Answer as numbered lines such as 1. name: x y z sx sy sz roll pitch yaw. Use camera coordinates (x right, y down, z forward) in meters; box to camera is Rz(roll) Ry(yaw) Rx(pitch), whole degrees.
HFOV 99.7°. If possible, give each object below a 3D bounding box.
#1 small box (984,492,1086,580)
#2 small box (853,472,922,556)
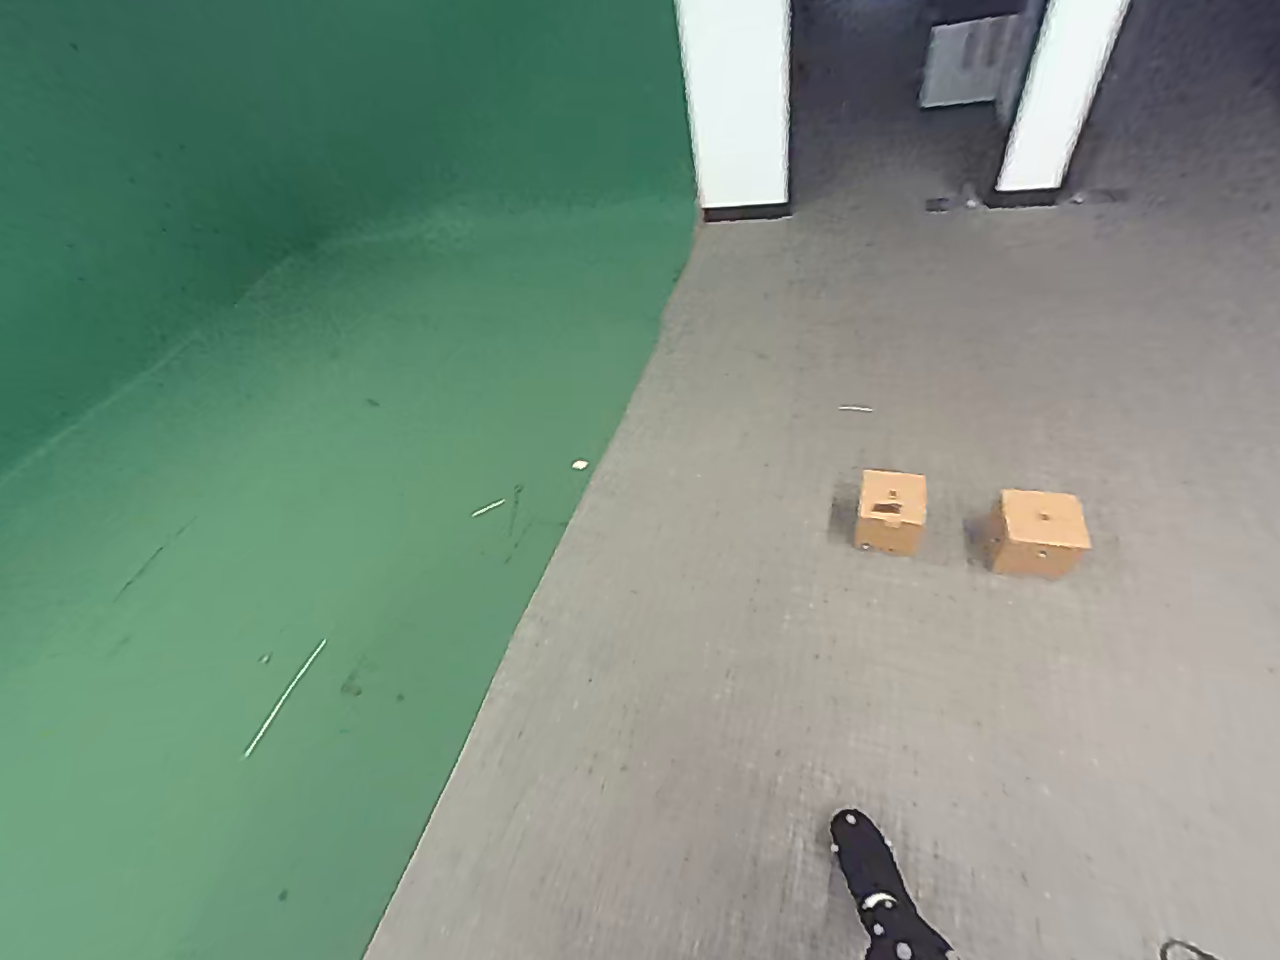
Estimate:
1. small box: 1.047 0.152 1.452 0.179 0.176 0.168 5 53 18
2. small box: 0.720 0.103 1.581 0.168 0.176 0.179 7 53 20
